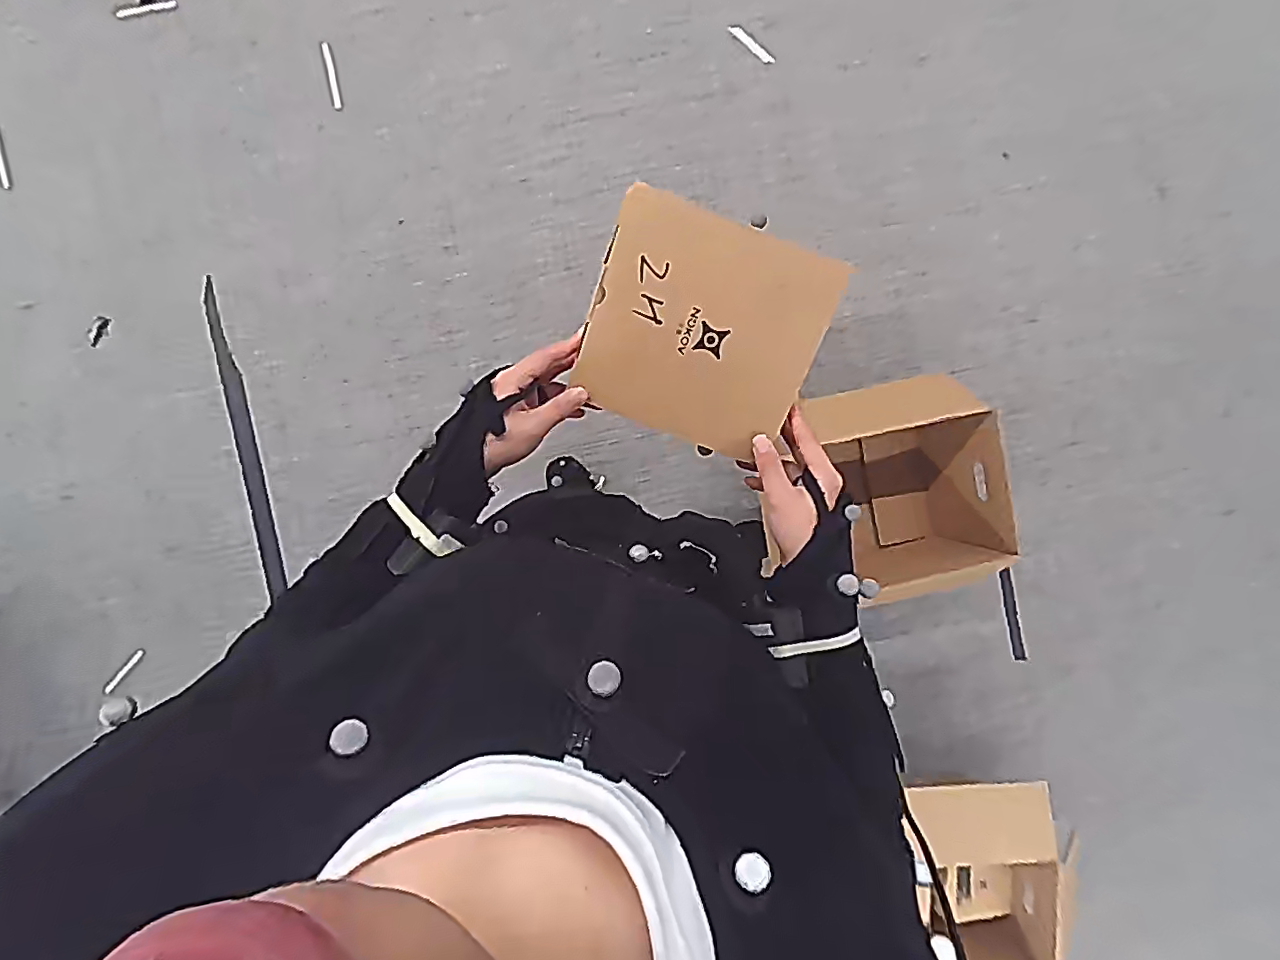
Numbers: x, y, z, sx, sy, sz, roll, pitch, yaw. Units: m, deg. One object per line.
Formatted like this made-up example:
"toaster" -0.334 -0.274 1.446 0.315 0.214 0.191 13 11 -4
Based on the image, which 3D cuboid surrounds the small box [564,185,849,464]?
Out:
"small box" 0.054 -0.140 0.492 0.179 0.176 0.168 21 110 -1
